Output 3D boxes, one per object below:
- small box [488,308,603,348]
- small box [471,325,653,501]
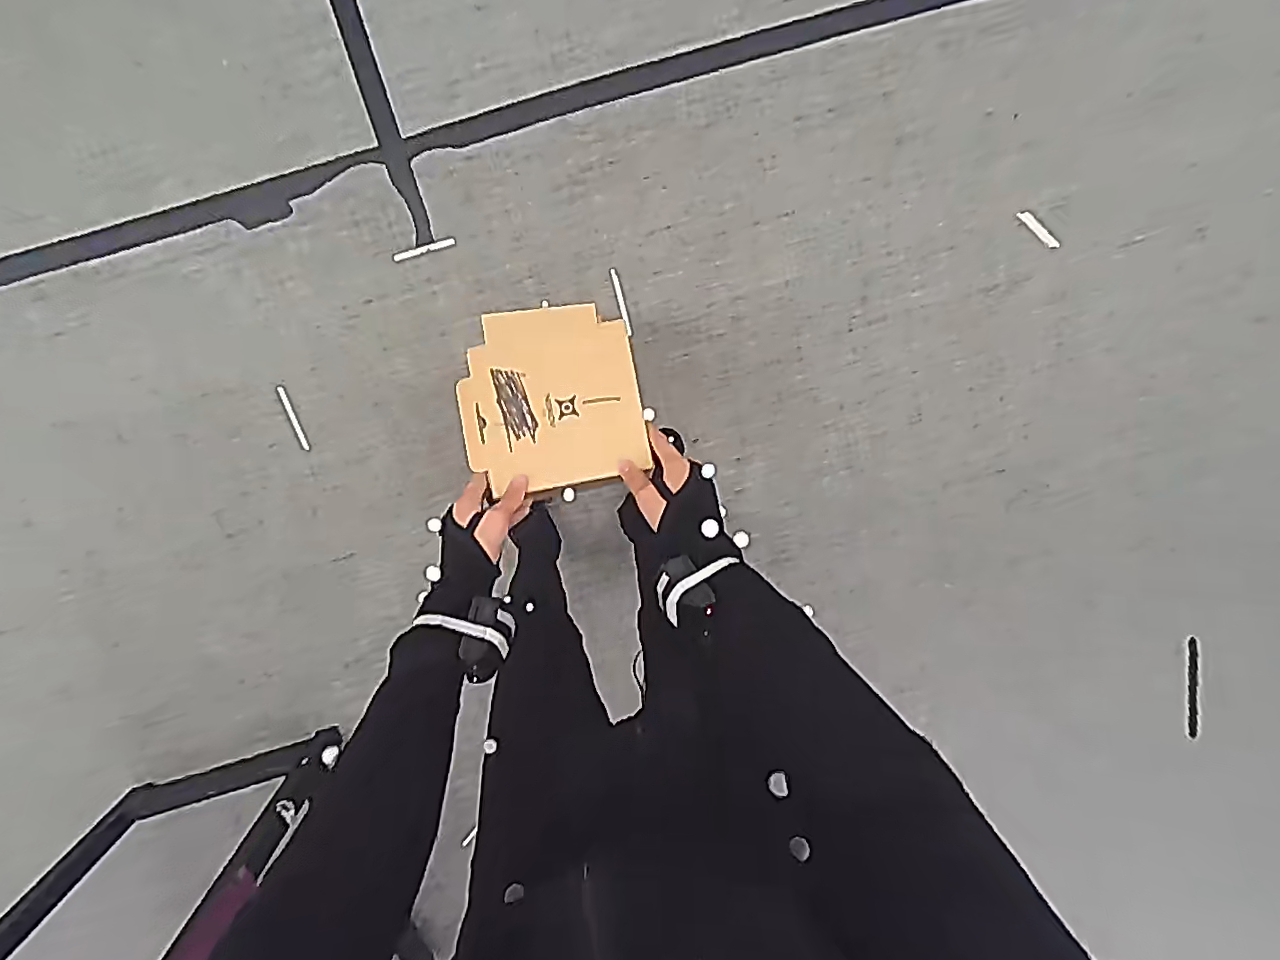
[{"bbox_3d":[-0.139,-0.175,0.873,0.168,0.176,0.179,-7,105,-4],"label":"small box"},{"bbox_3d":[-0.083,-0.068,0.654,0.179,0.176,0.168,-10,88,-1],"label":"small box"}]
